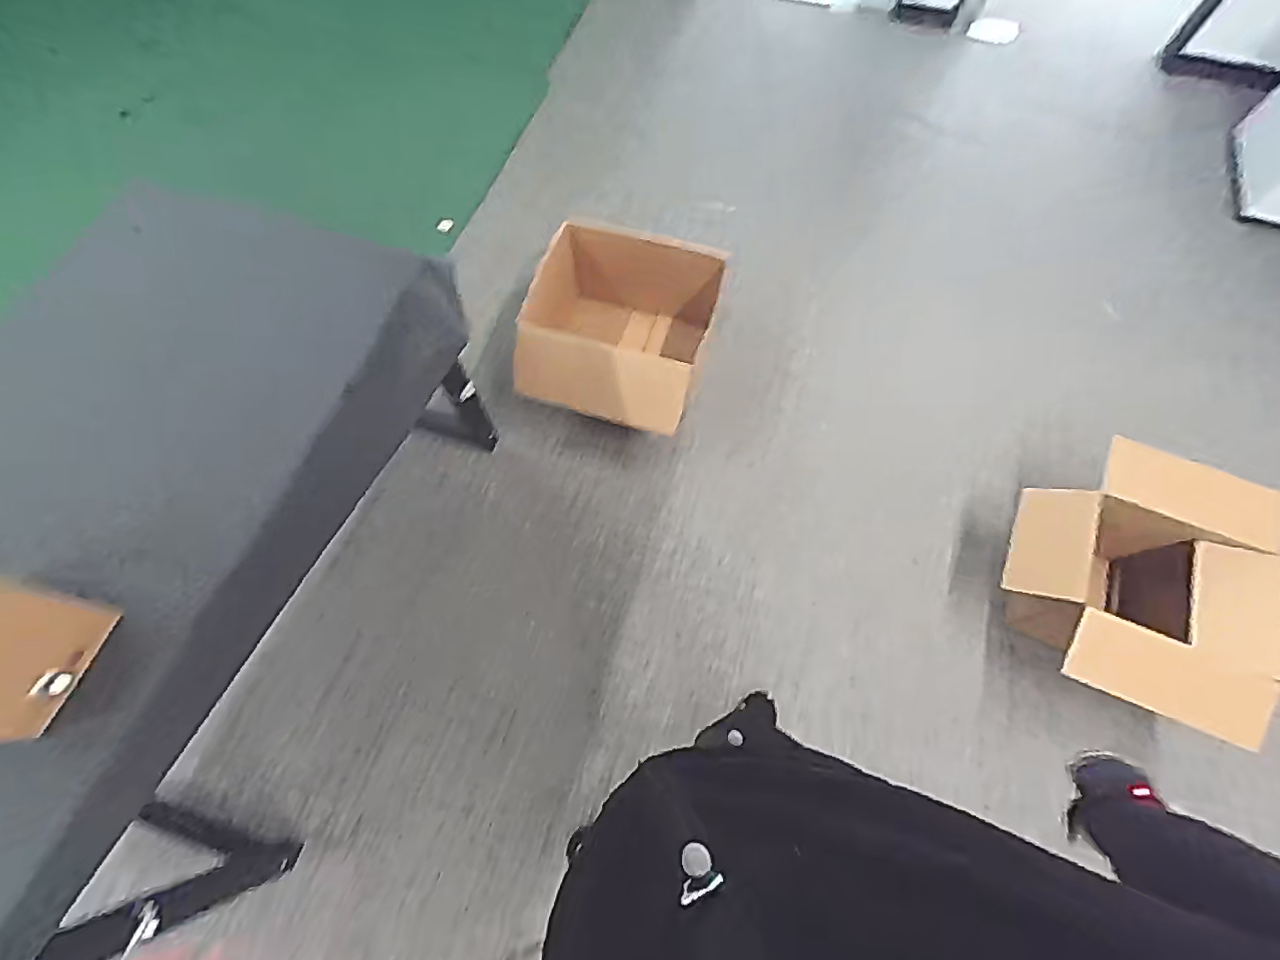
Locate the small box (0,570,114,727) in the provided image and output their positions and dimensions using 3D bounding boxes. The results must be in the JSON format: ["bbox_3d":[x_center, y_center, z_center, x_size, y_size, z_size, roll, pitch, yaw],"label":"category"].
[{"bbox_3d":[-0.817,0.191,0.645,0.179,0.176,0.168,15,67,5],"label":"small box"}]
